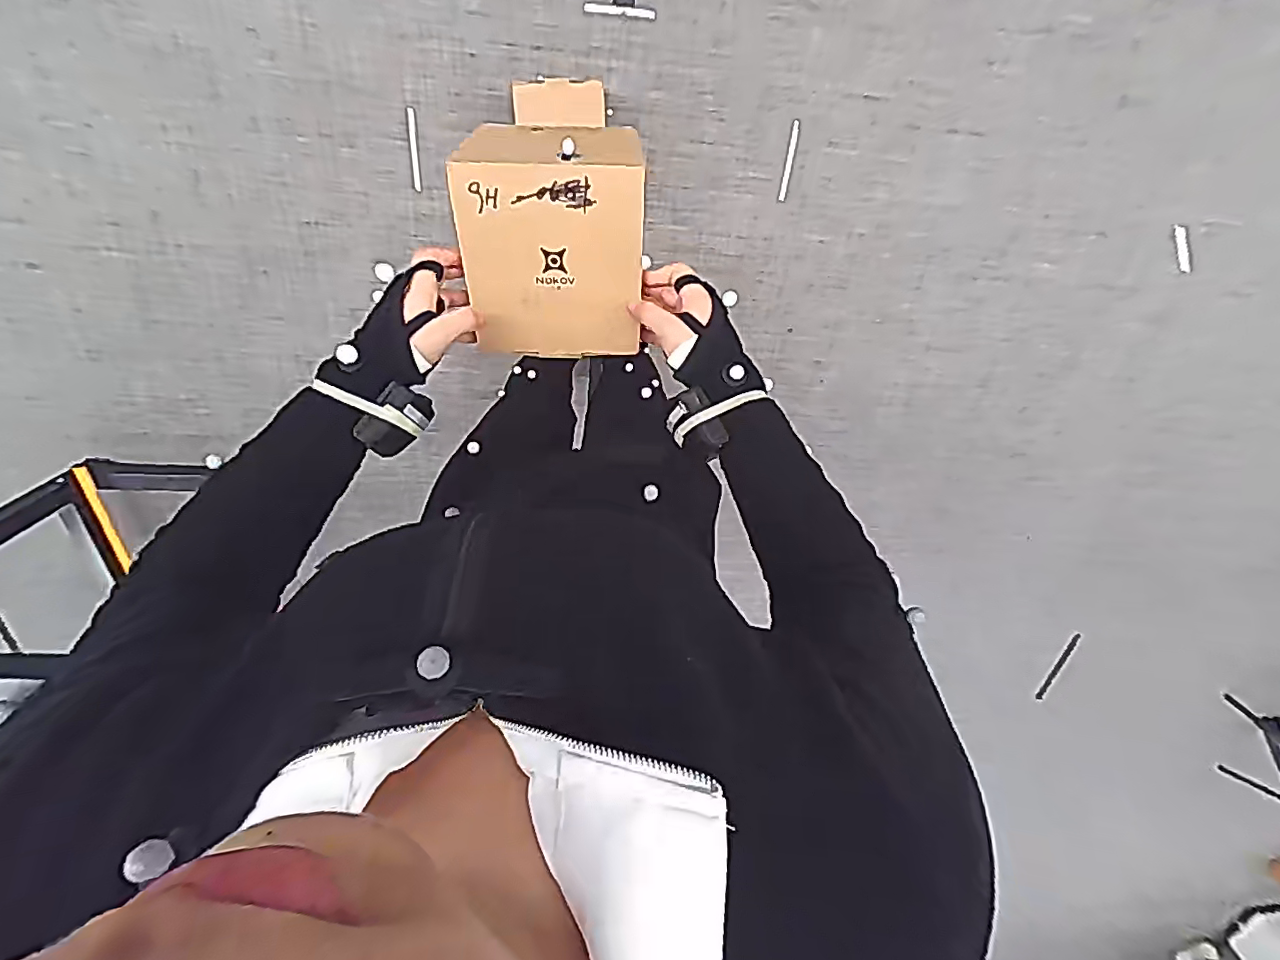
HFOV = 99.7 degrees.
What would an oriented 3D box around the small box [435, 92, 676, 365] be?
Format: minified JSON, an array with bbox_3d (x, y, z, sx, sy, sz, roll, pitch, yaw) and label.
[{"bbox_3d":[-0.061,-0.221,0.478,0.168,0.176,0.179,-1,133,-3],"label":"small box"}]

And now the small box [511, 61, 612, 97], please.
[{"bbox_3d":[-0.132,-0.643,0.986,0.168,0.176,0.179,-3,122,-1],"label":"small box"}]
